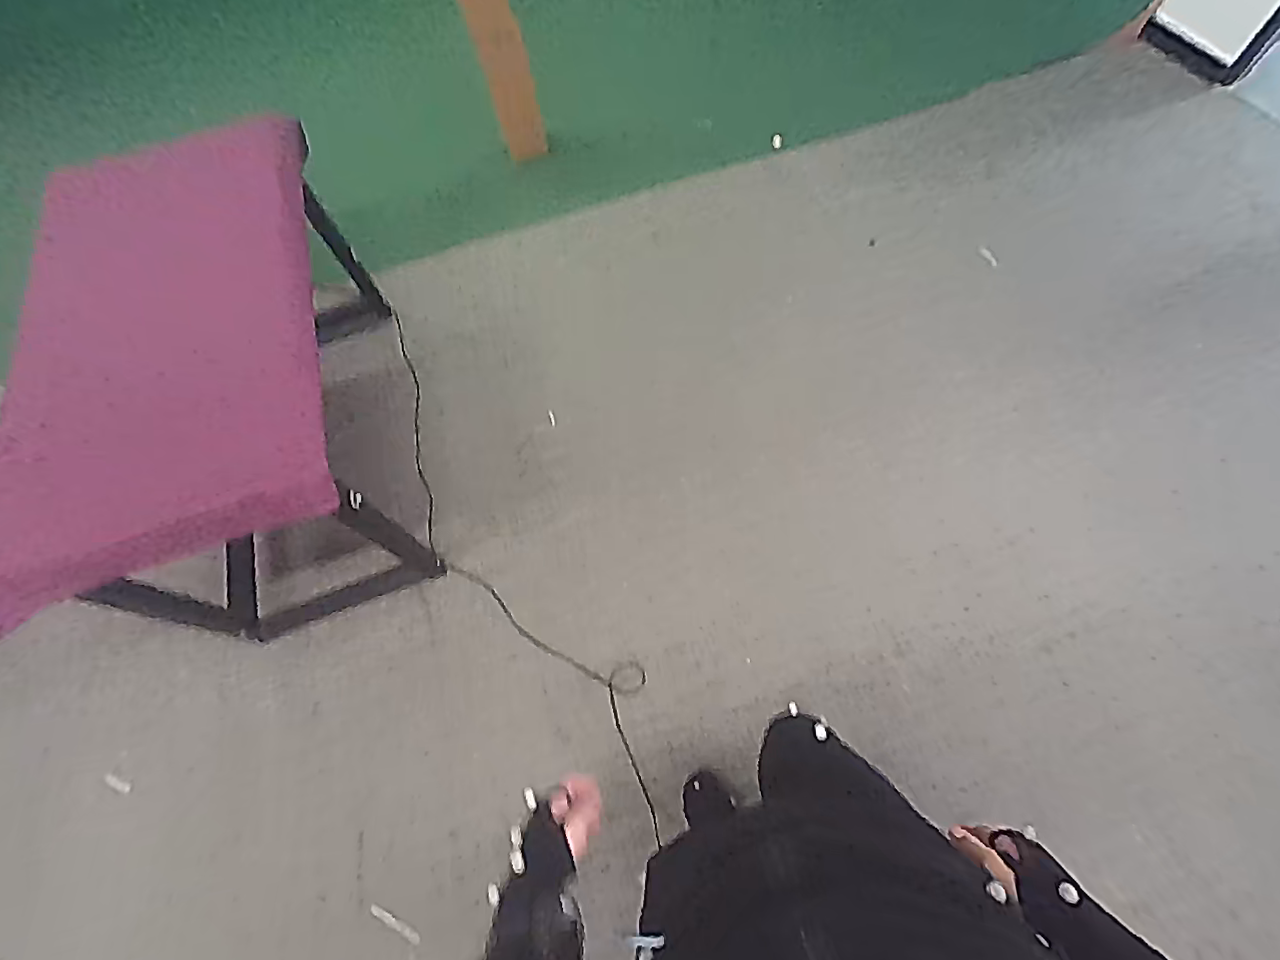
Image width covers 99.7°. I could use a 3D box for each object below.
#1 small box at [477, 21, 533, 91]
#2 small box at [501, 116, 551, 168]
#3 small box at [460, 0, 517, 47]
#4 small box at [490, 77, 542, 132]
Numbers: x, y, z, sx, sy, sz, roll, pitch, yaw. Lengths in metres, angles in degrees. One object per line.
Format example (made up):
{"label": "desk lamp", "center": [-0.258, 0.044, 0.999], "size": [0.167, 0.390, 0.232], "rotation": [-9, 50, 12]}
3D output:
{"label": "small box", "center": [-0.551, -1.711, 2.179], "size": [0.179, 0.176, 0.168], "rotation": [-22, 65, -6]}
{"label": "small box", "center": [-0.519, -1.574, 2.472], "size": [0.179, 0.176, 0.168], "rotation": [-22, 64, -6]}
{"label": "small box", "center": [-0.575, -1.767, 2.027], "size": [0.168, 0.176, 0.179], "rotation": [-19, 65, -4]}
{"label": "small box", "center": [-0.532, -1.644, 2.327], "size": [0.179, 0.176, 0.168], "rotation": [-21, 64, -4]}
